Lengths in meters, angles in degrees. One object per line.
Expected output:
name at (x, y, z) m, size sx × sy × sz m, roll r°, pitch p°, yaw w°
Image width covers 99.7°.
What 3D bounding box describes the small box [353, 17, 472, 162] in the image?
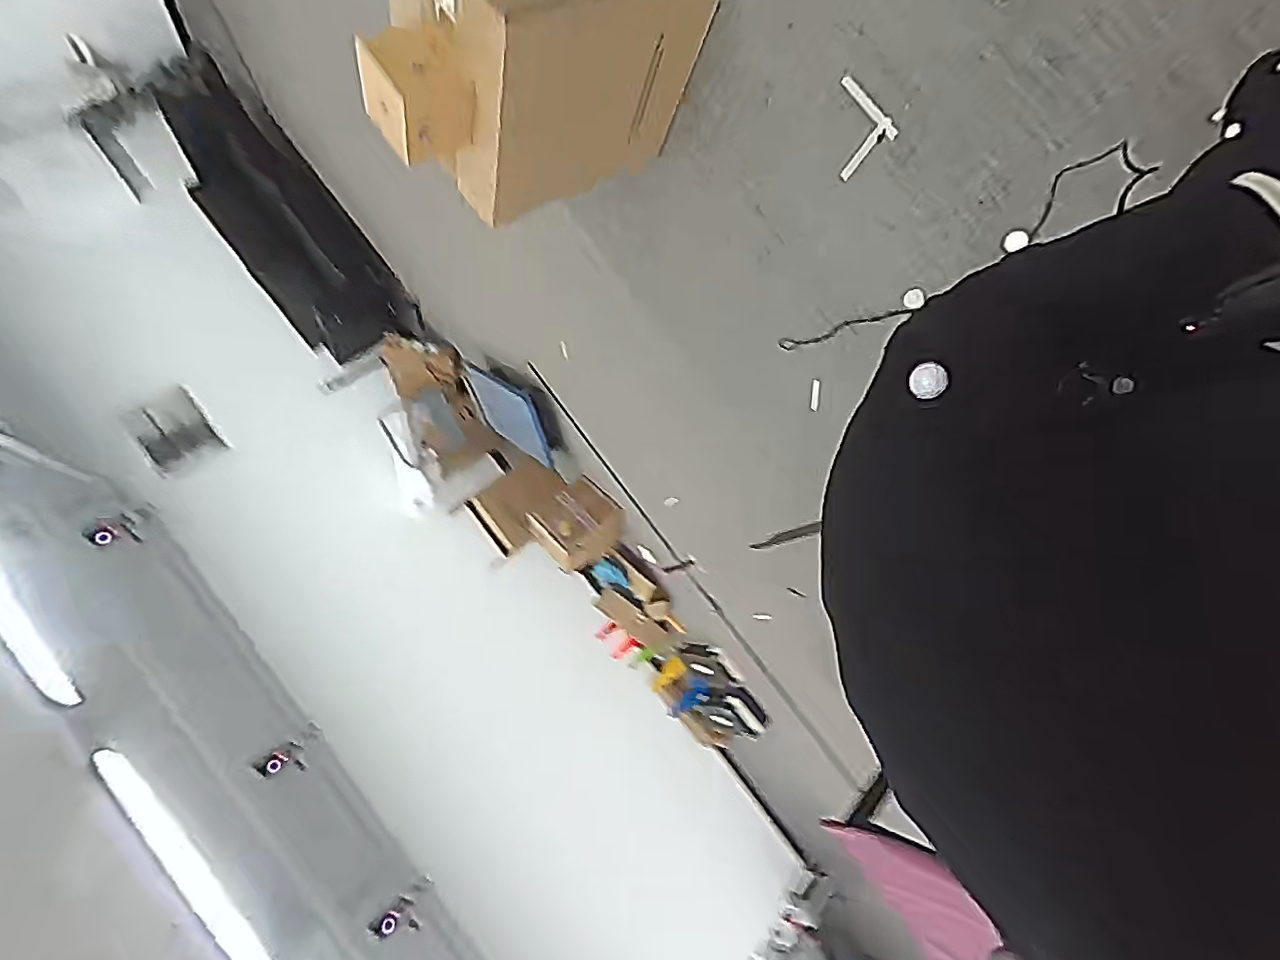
small box at (-0.482, -0.842, 1.166) m, size 0.168 × 0.176 × 0.179 m, roll 53°, pitch 156°, yaw -1°
